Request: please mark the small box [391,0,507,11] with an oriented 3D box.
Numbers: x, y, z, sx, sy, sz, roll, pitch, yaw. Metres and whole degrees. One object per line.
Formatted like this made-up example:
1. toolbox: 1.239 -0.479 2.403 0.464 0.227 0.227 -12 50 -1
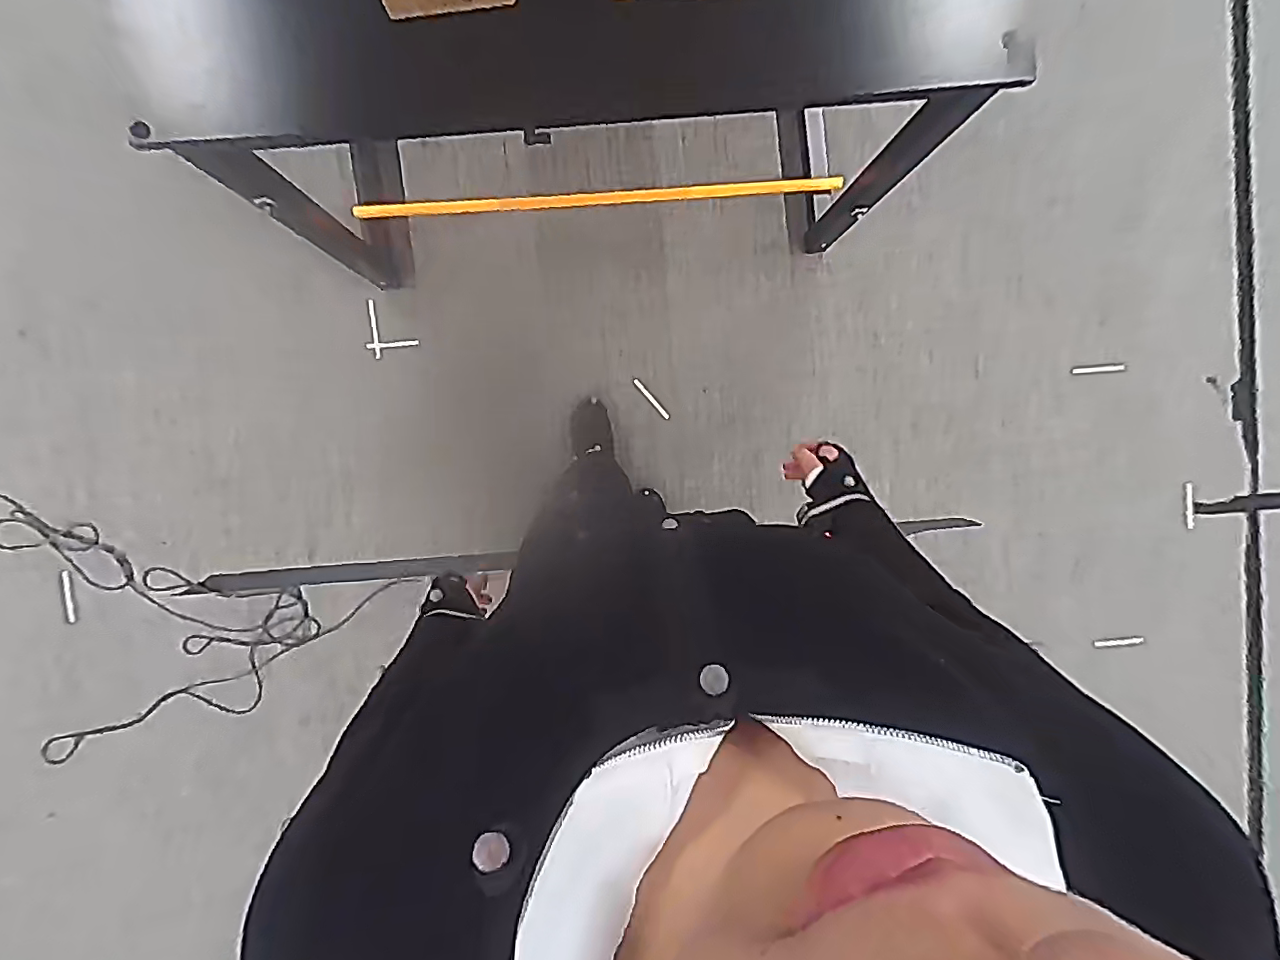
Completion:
1. small box: -0.253 -0.691 0.624 0.168 0.176 0.179 -10 94 -2
